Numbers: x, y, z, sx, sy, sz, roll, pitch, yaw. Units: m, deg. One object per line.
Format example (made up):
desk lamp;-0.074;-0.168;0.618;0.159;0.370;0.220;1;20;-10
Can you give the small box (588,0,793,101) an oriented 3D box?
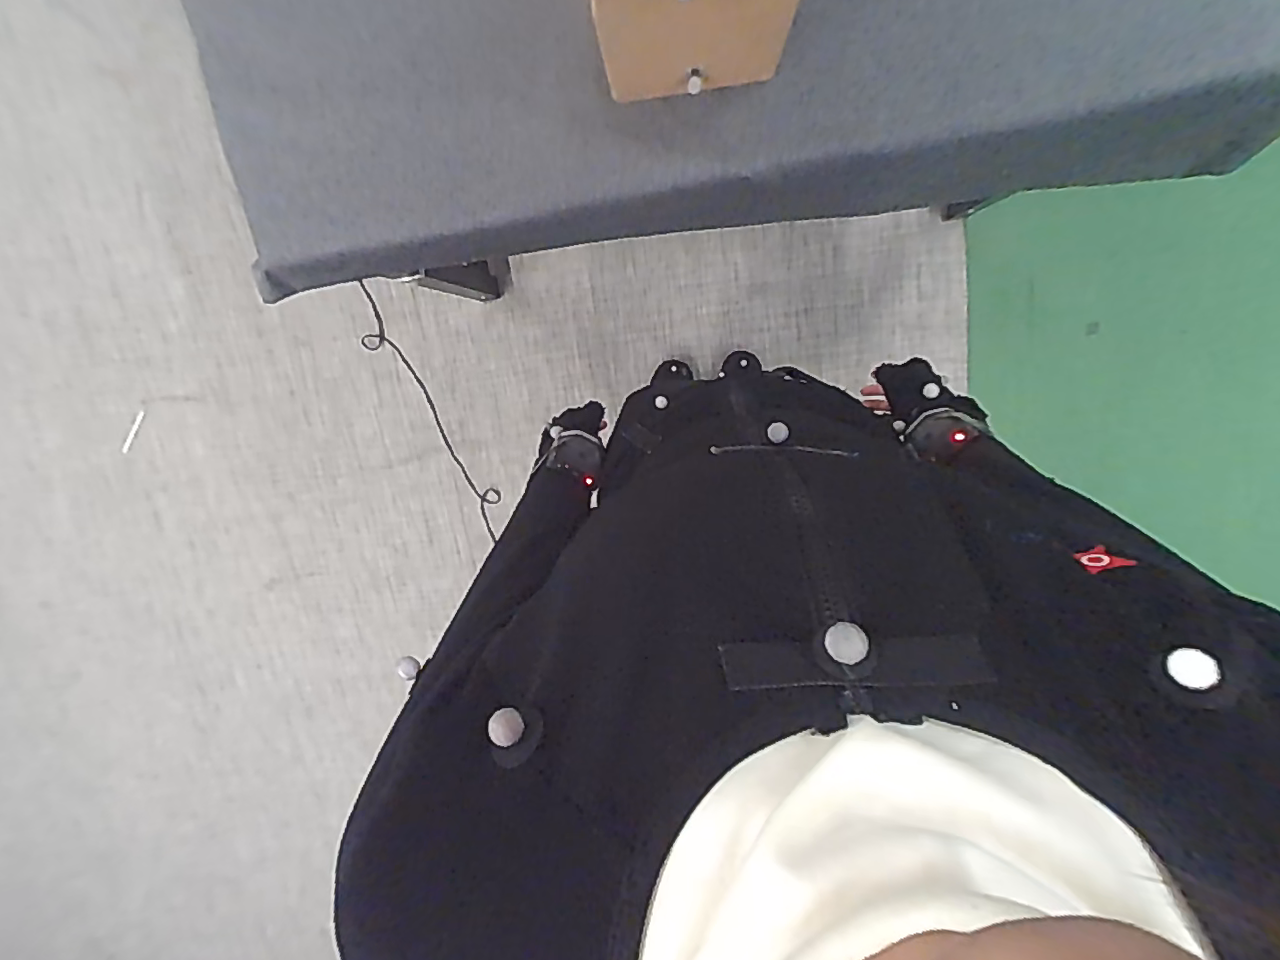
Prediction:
small box;0.038;-0.489;0.501;0.179;0.176;0.168;-6;102;4
